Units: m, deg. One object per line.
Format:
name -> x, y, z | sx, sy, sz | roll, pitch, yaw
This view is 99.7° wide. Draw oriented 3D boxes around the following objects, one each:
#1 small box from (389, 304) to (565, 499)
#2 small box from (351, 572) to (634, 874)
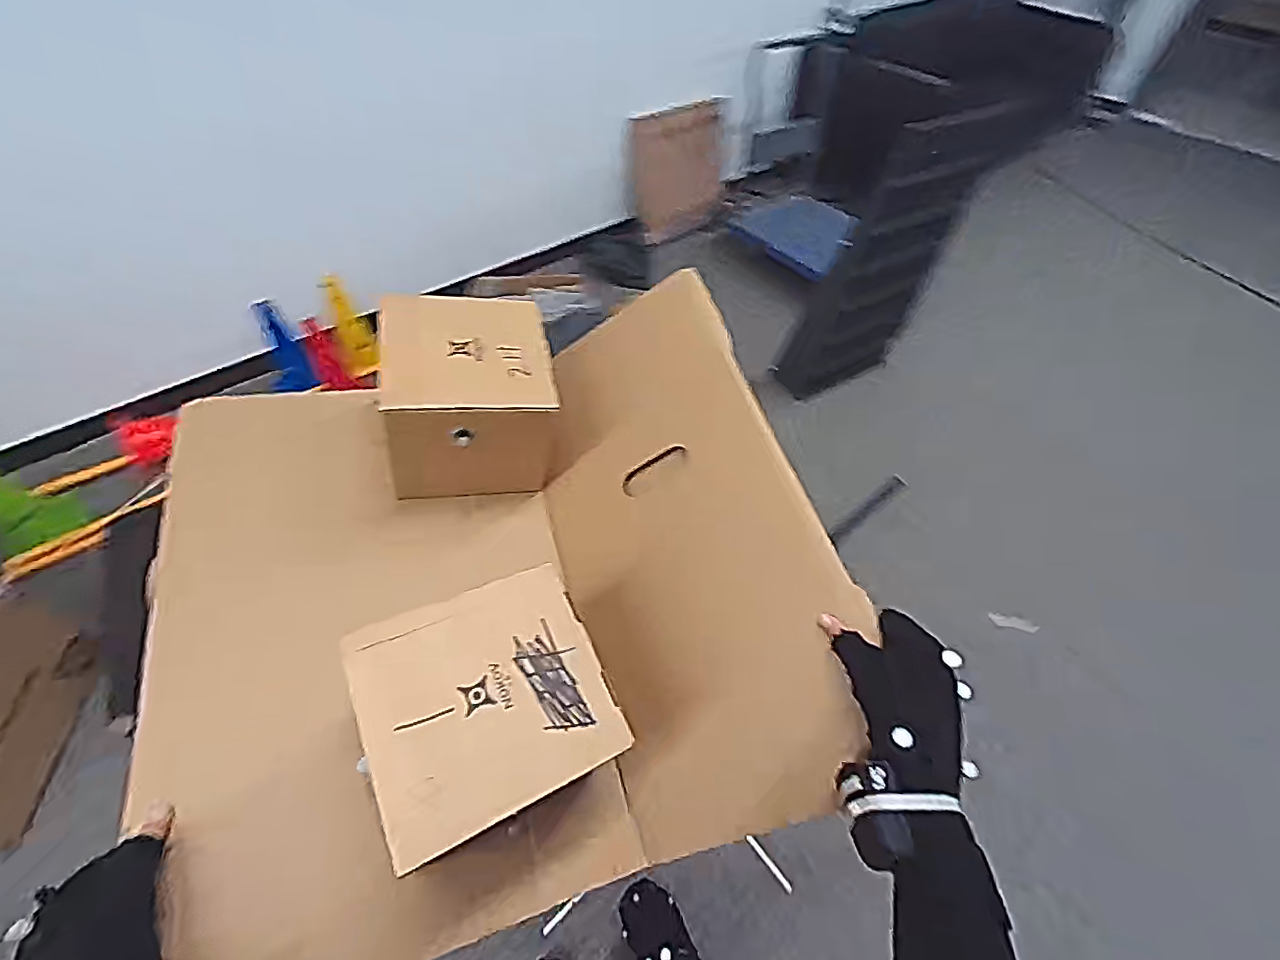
small box -> -0.198, -0.087, 0.655 | 0.179, 0.176, 0.168 | -1, 58, -20
small box -> -0.133, 0.208, 0.479 | 0.179, 0.176, 0.168 | -16, 64, -26
